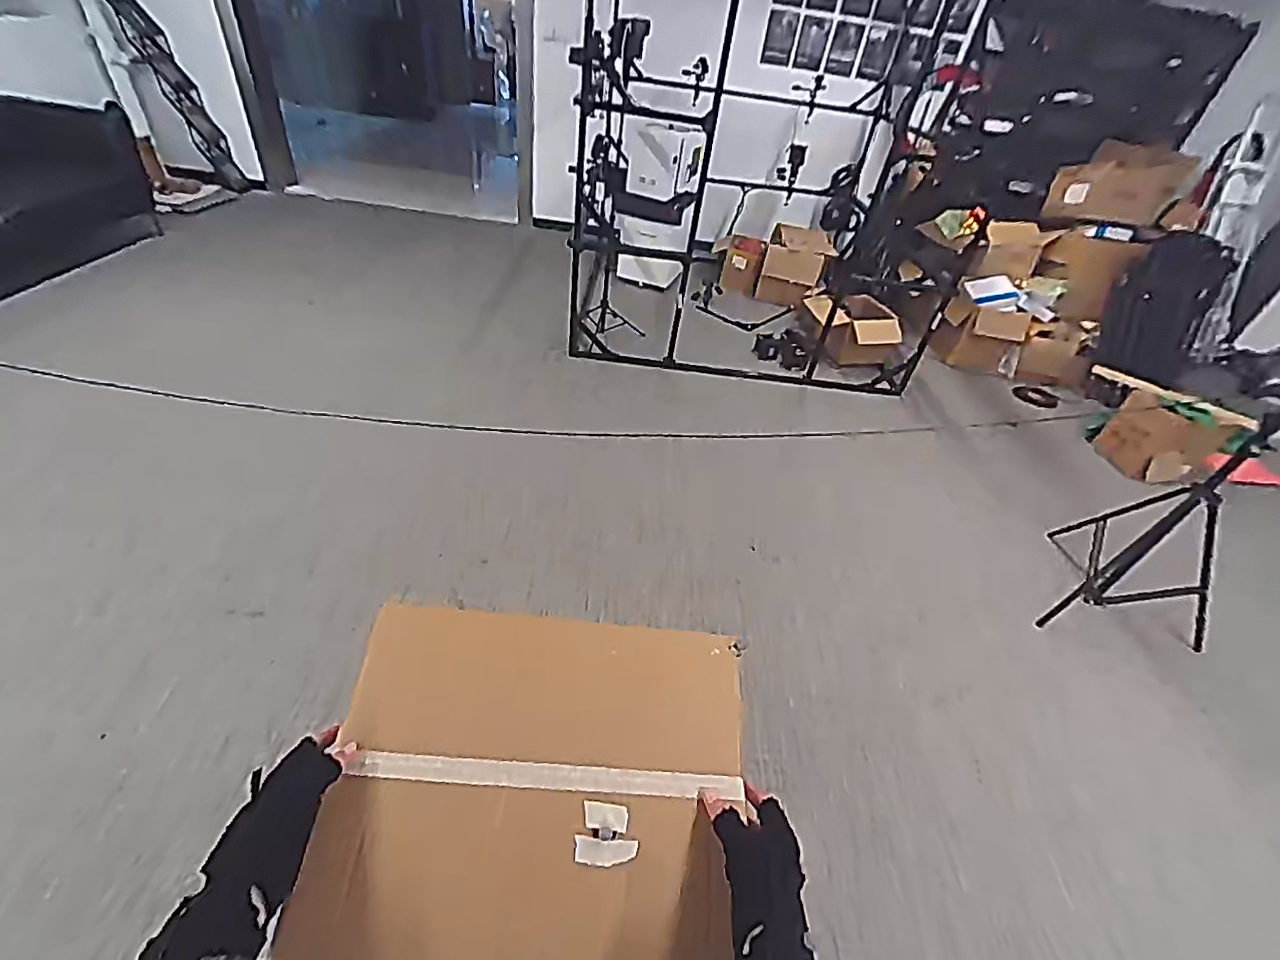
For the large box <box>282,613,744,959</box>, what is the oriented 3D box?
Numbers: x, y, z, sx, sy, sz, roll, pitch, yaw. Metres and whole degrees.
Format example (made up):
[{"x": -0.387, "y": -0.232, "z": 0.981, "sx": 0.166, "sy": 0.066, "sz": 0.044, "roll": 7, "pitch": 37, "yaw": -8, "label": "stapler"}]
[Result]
[{"x": -0.118, "y": 0.380, "z": 0.668, "sx": 0.408, "sy": 0.320, "sz": 0.320, "roll": 7, "pitch": 56, "yaw": -5, "label": "large box"}]
